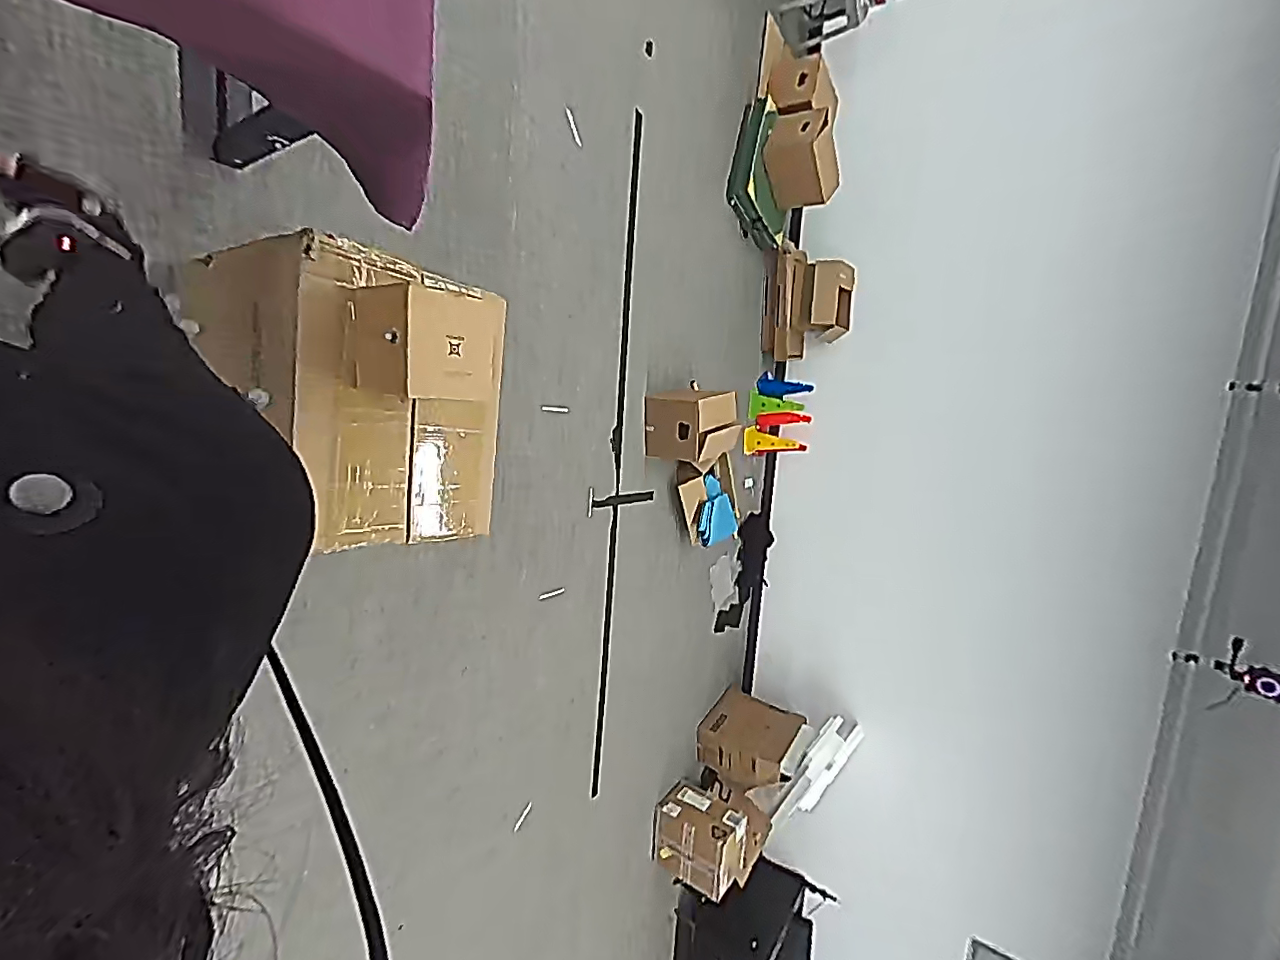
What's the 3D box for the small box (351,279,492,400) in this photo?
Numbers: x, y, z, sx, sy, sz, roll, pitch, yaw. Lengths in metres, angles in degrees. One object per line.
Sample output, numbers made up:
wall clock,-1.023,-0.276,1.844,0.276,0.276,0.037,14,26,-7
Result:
small box,-0.375,-0.234,0.927,0.168,0.176,0.179,-8,106,-53
